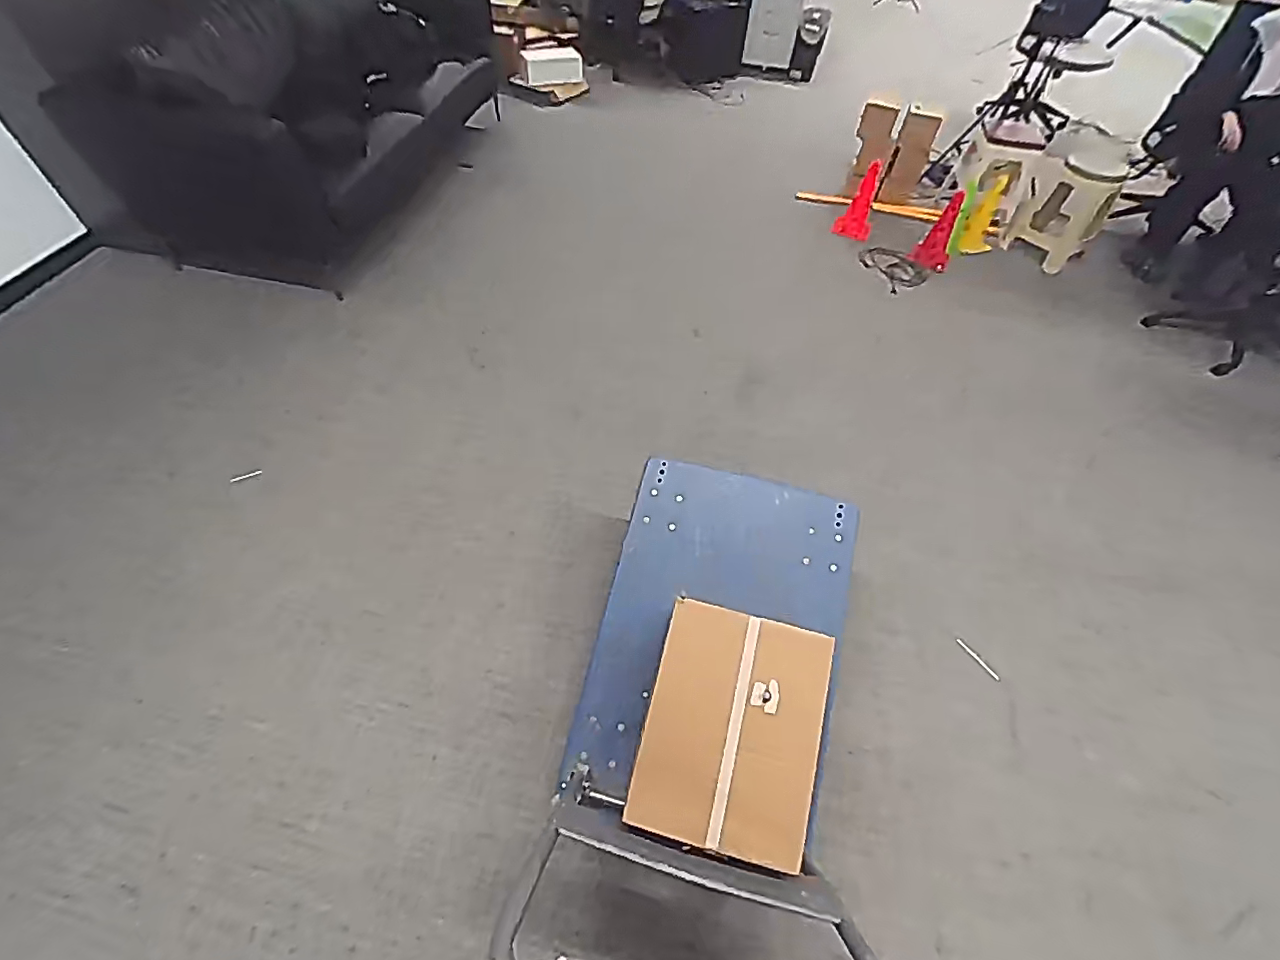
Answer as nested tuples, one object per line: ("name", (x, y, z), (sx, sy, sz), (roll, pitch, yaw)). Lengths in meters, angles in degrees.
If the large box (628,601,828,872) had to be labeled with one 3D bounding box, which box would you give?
("large box", (0.174, 0.507, 1.133), (0.320, 0.320, 0.408), (14, 70, 5))
